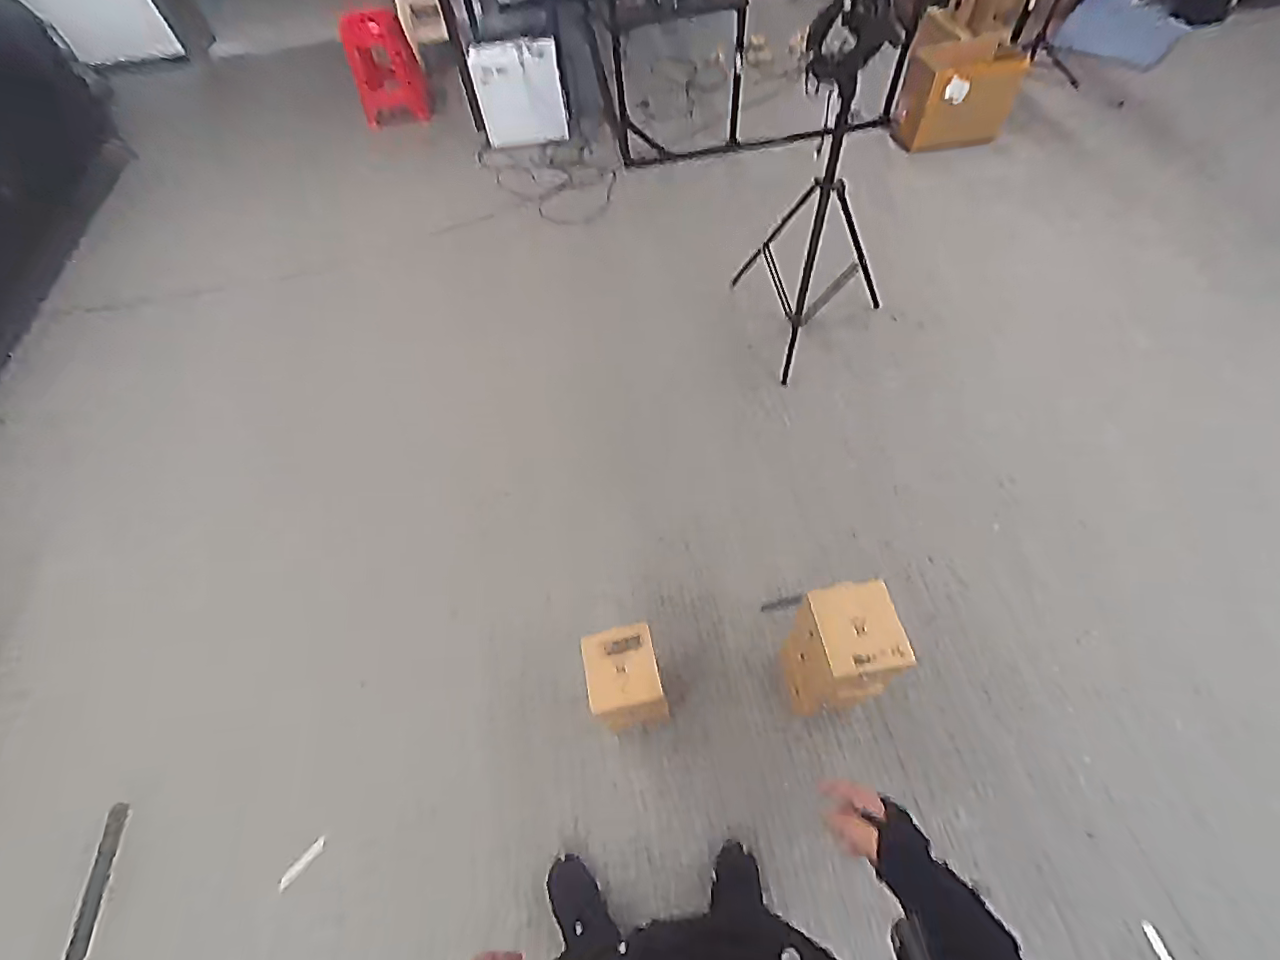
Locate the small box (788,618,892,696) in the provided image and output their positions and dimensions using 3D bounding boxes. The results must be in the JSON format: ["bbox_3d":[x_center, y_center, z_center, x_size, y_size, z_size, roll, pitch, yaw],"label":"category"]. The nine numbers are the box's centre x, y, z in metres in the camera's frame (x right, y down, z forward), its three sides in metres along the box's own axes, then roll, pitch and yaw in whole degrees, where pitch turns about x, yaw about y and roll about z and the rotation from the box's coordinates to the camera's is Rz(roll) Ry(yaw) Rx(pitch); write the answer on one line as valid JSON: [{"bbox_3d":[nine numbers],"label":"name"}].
[{"bbox_3d":[0.464,0.407,1.286,0.168,0.176,0.179,-9,58,-1],"label":"small box"}]

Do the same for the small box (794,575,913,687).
[{"bbox_3d":[0.439,0.323,1.146,0.168,0.176,0.179,-9,58,-1],"label":"small box"}]

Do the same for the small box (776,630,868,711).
[{"bbox_3d":[0.469,0.494,1.425,0.168,0.176,0.179,-8,59,-1],"label":"small box"}]

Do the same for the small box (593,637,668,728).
[{"bbox_3d":[-0.024,0.541,1.438,0.168,0.176,0.179,-13,58,-2],"label":"small box"}]
